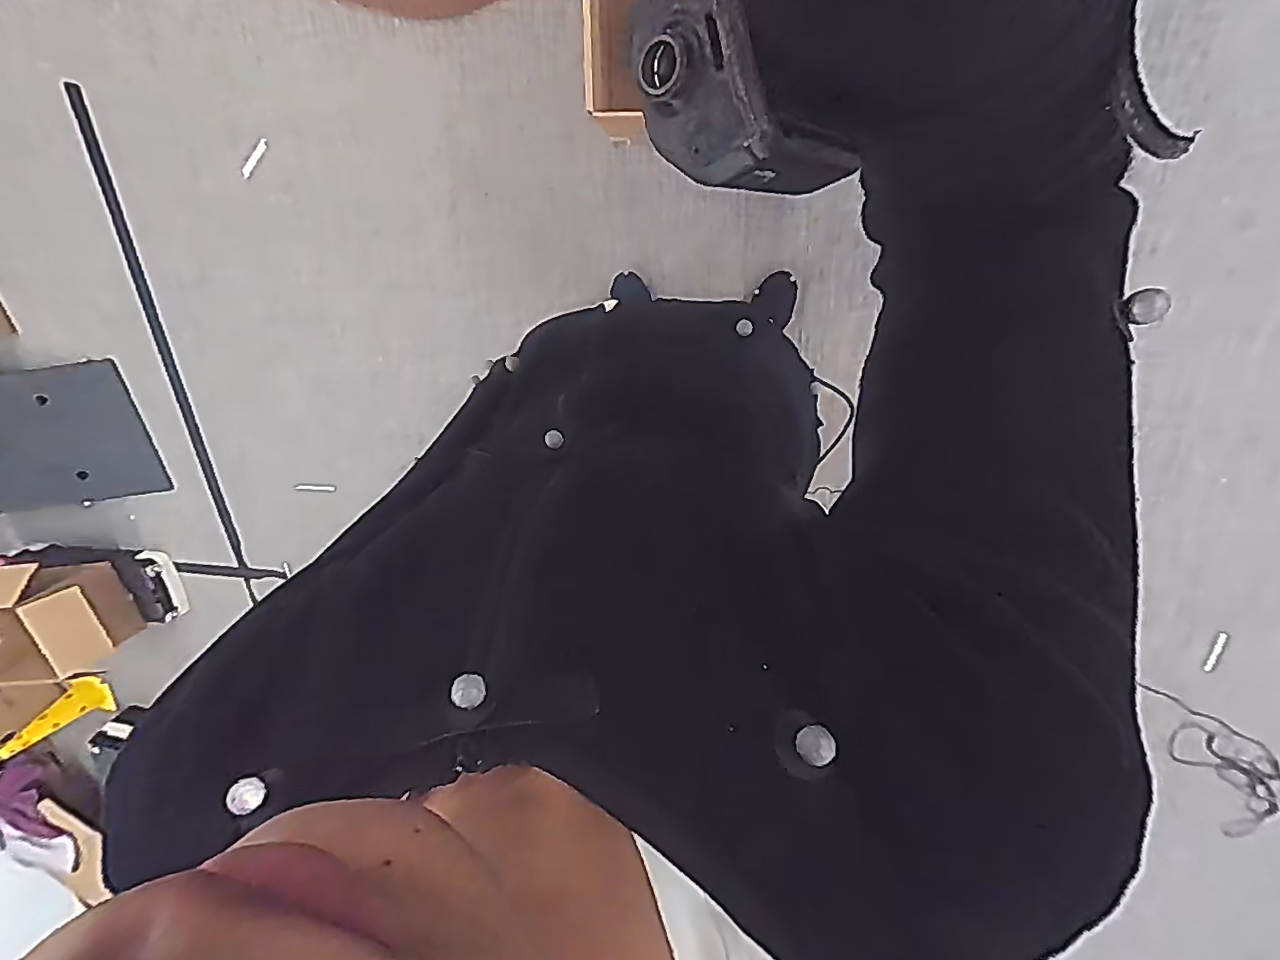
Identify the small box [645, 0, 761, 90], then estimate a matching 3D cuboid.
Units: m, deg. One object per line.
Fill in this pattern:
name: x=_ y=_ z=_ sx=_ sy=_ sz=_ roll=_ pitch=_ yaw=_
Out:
small box: x=0.098 y=-0.737 z=0.832 sx=0.168 sy=0.176 sz=0.179 roll=-2 pitch=112 yaw=11
